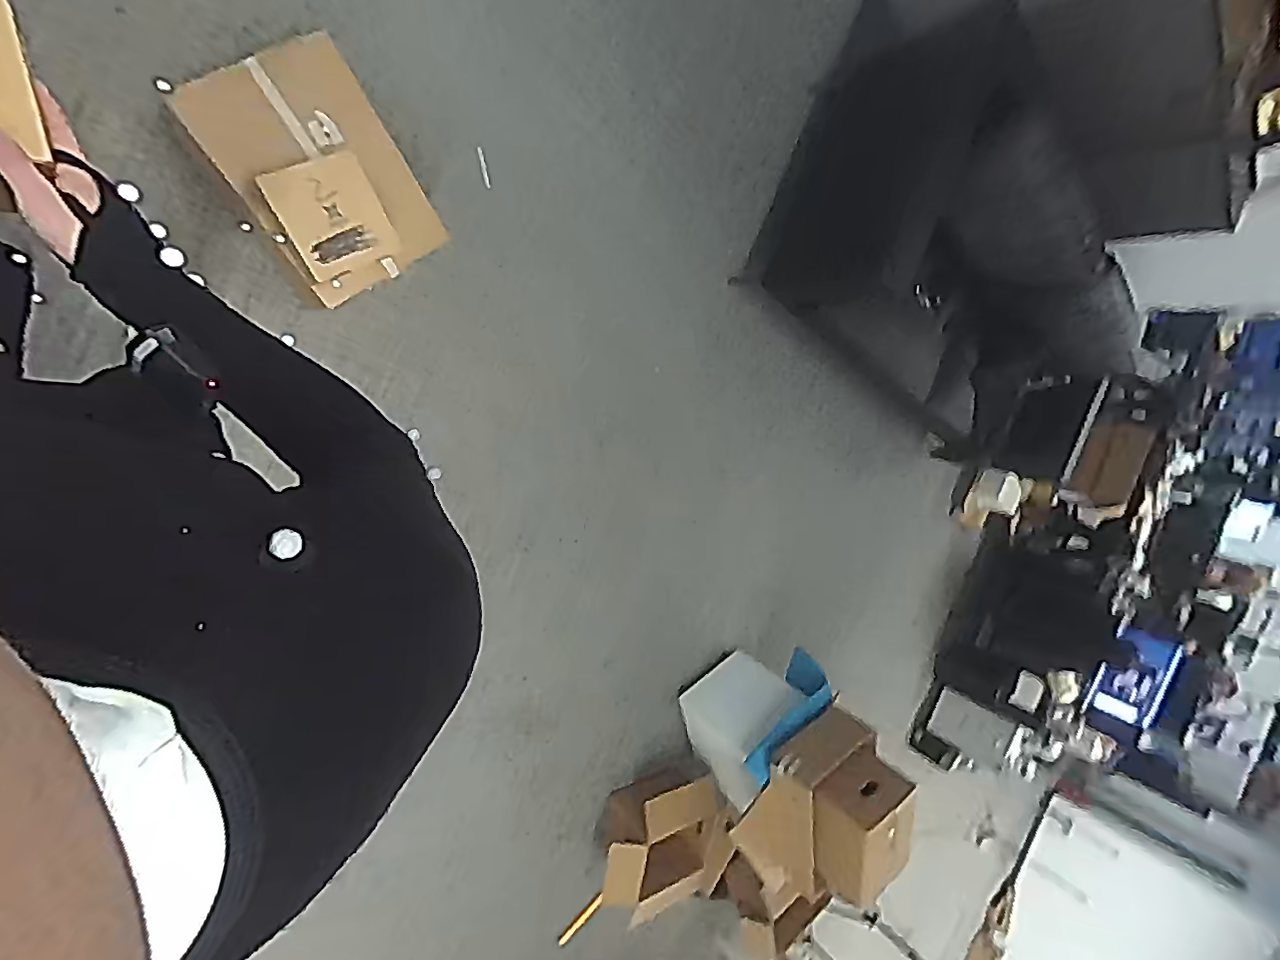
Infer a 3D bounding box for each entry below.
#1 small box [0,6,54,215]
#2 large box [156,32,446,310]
[{"bbox_3d":[-0.597,-0.315,0.414,0.179,0.176,0.168,-17,107,-40],"label":"small box"},{"bbox_3d":[-0.705,-0.626,1.171,0.320,0.320,0.408,-42,125,-20],"label":"large box"}]
